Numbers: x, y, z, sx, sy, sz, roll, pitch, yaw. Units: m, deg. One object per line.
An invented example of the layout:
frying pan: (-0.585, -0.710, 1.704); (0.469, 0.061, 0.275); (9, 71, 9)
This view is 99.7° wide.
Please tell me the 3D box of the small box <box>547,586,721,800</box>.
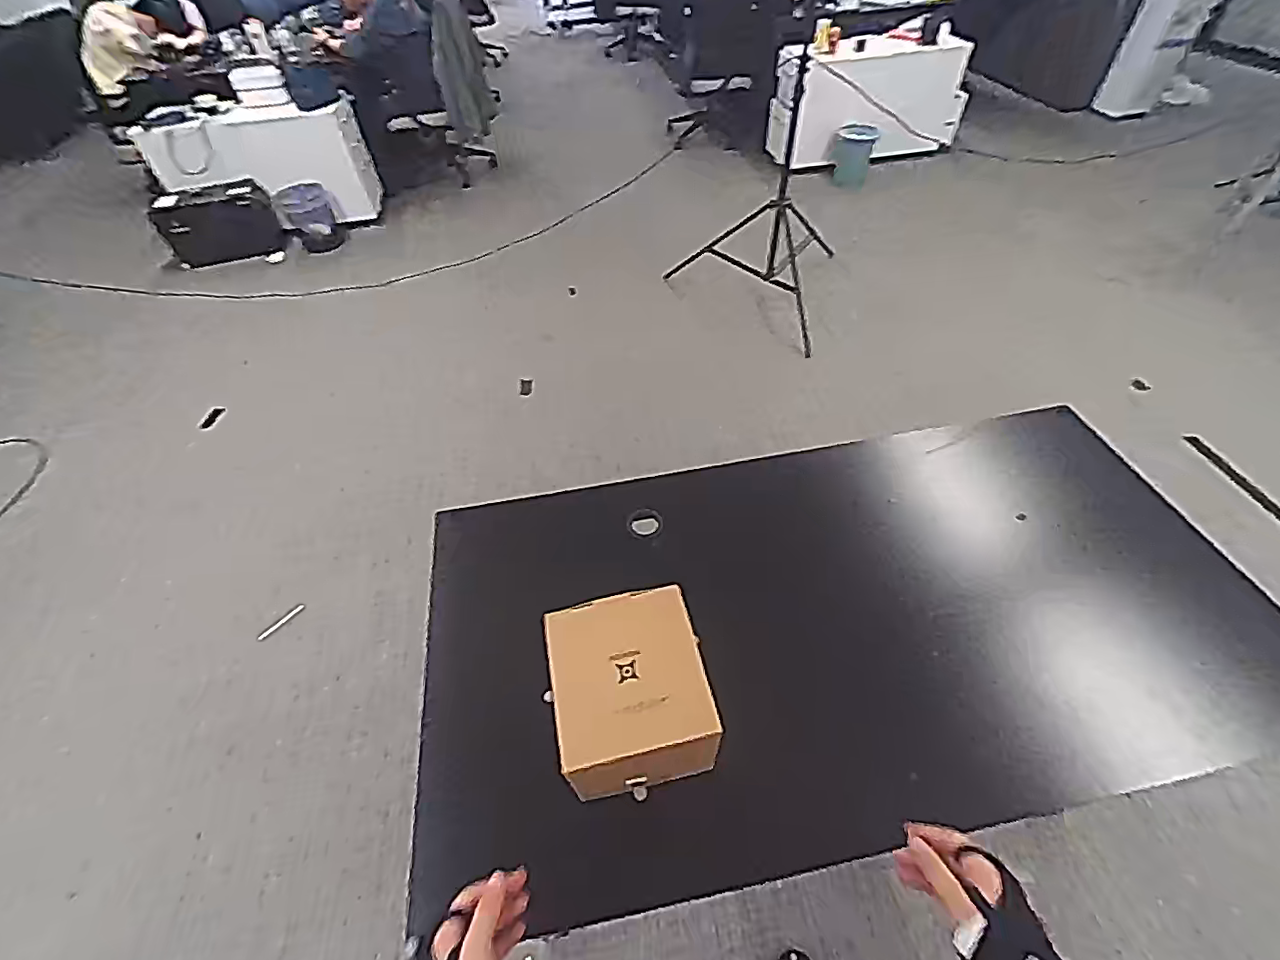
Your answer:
small box: (-0.011, 0.258, 0.654); (0.168, 0.176, 0.179); (-12, 51, -6)
